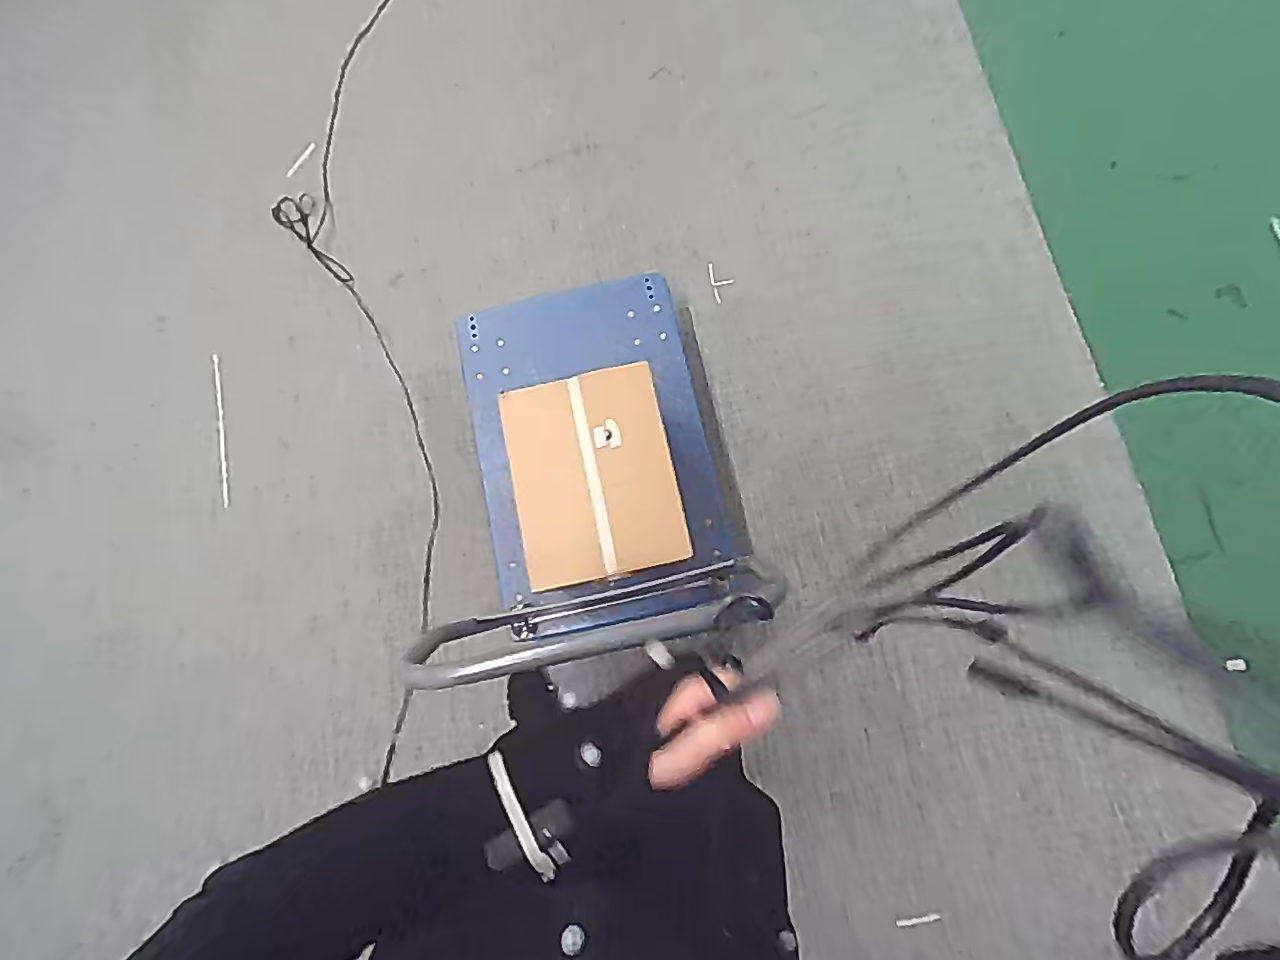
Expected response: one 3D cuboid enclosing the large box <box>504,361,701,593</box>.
[{"bbox_3d":[-0.070,0.014,1.181,0.320,0.320,0.408,-13,79,0],"label":"large box"}]
